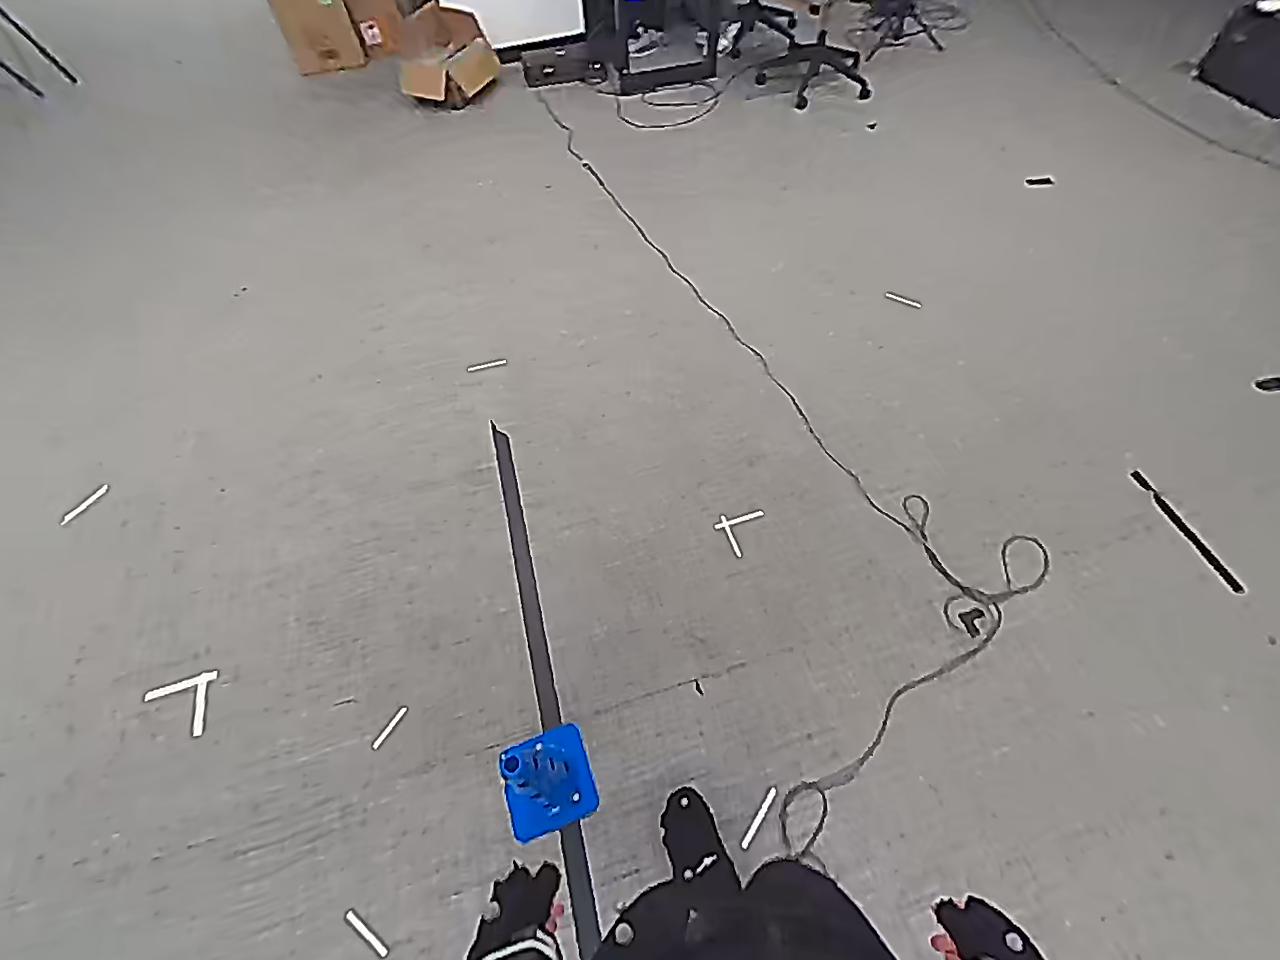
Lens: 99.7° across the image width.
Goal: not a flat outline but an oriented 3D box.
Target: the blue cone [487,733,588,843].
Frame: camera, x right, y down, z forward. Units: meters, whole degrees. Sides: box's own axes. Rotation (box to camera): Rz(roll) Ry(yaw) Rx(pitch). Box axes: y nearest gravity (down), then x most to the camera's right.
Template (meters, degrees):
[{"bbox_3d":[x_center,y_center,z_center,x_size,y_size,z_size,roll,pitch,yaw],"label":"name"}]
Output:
[{"bbox_3d":[-0.235,0.617,1.114,0.192,0.380,0.193,-18,58,-8],"label":"blue cone"}]
